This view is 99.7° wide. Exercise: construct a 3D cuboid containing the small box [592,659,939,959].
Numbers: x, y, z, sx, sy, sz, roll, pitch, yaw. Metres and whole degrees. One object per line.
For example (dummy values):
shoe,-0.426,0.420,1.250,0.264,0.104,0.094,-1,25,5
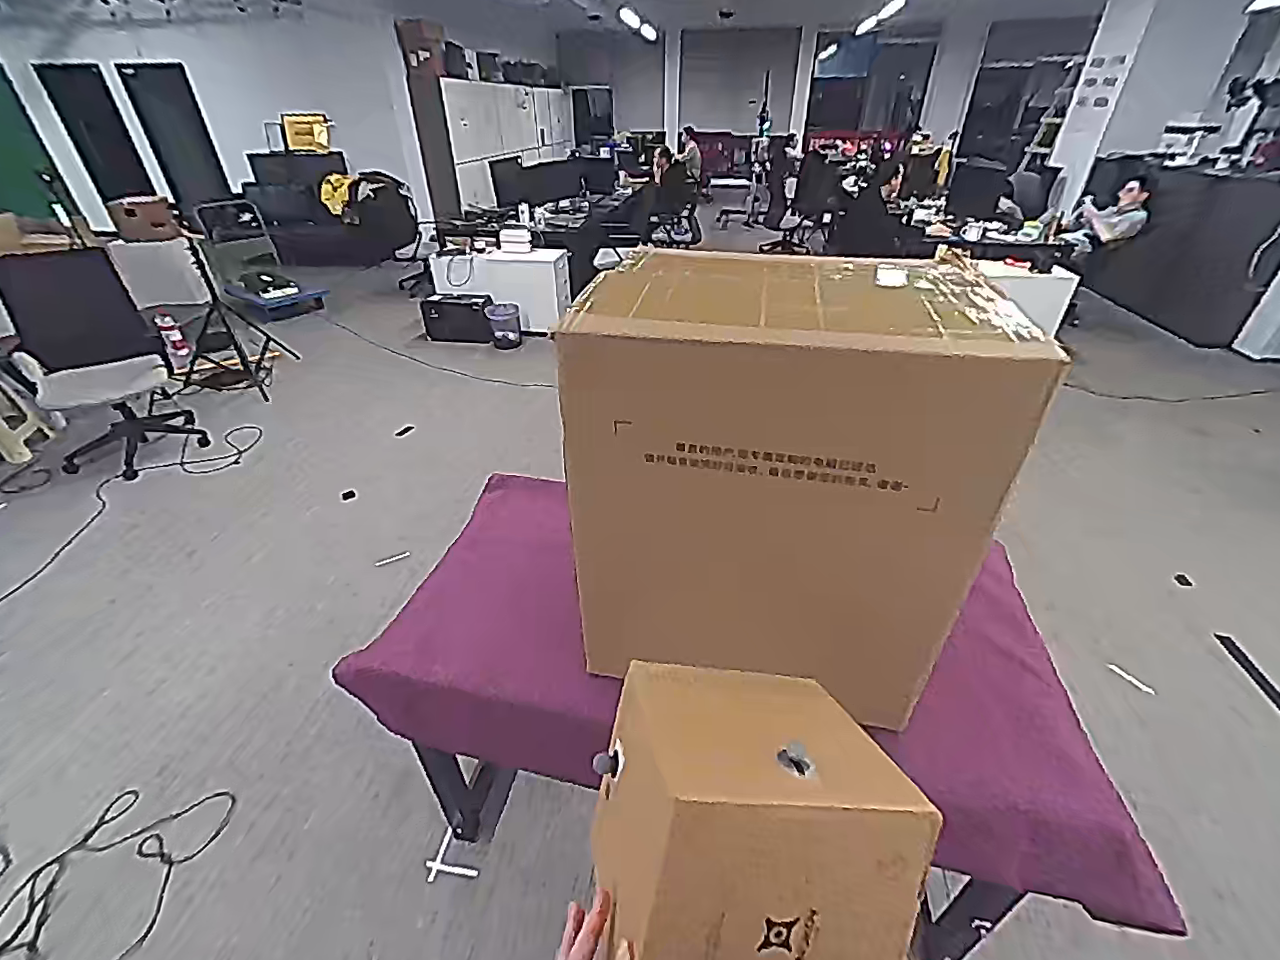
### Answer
small box,0.069,0.248,0.395,0.179,0.168,0.176,9,6,-11
